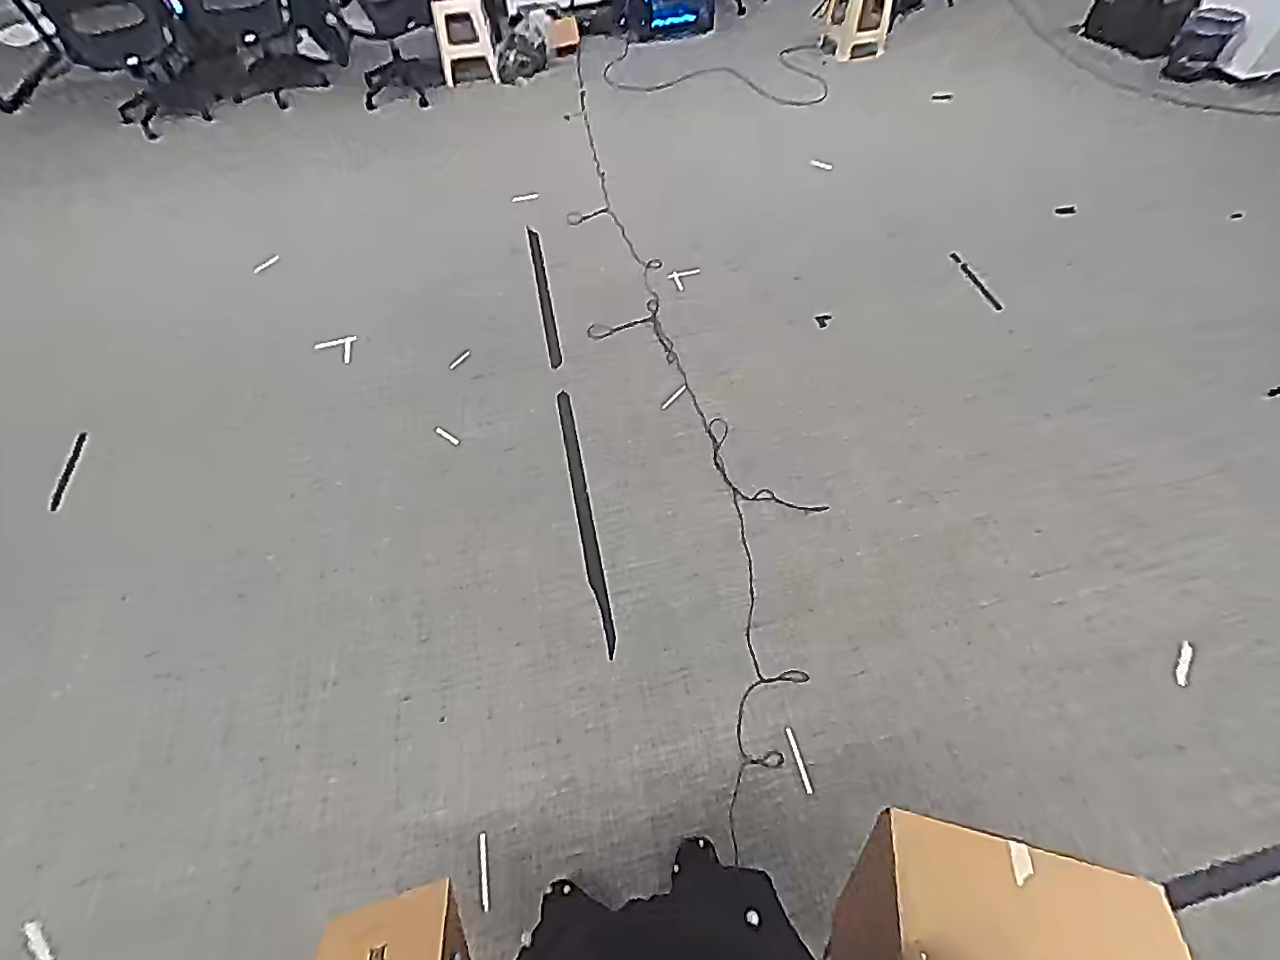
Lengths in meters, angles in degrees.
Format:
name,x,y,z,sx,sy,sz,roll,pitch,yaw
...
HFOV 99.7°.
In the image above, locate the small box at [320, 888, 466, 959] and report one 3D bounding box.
name,x,y,z,sx,sy,sz,roll,pitch,yaw
small box,-0.316,0.694,0.695,0.168,0.179,0.176,-11,98,-14
